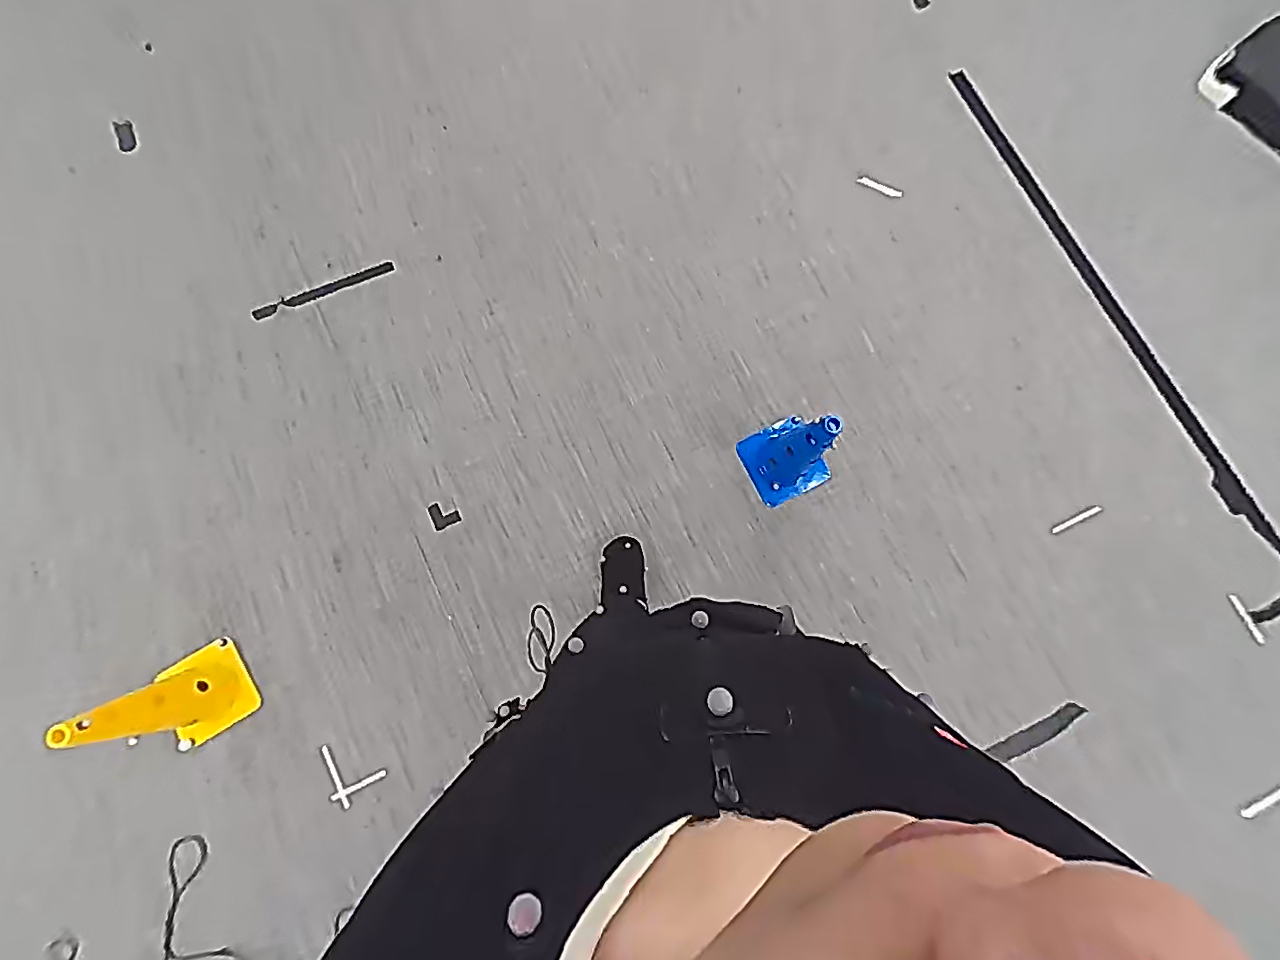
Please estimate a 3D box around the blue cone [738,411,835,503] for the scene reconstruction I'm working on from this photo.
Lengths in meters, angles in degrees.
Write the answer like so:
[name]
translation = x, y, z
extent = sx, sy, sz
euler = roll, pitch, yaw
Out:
[blue cone]
translation = 0.379, -0.079, 1.270
extent = 0.193, 0.380, 0.192
euler = -24, 81, -6
